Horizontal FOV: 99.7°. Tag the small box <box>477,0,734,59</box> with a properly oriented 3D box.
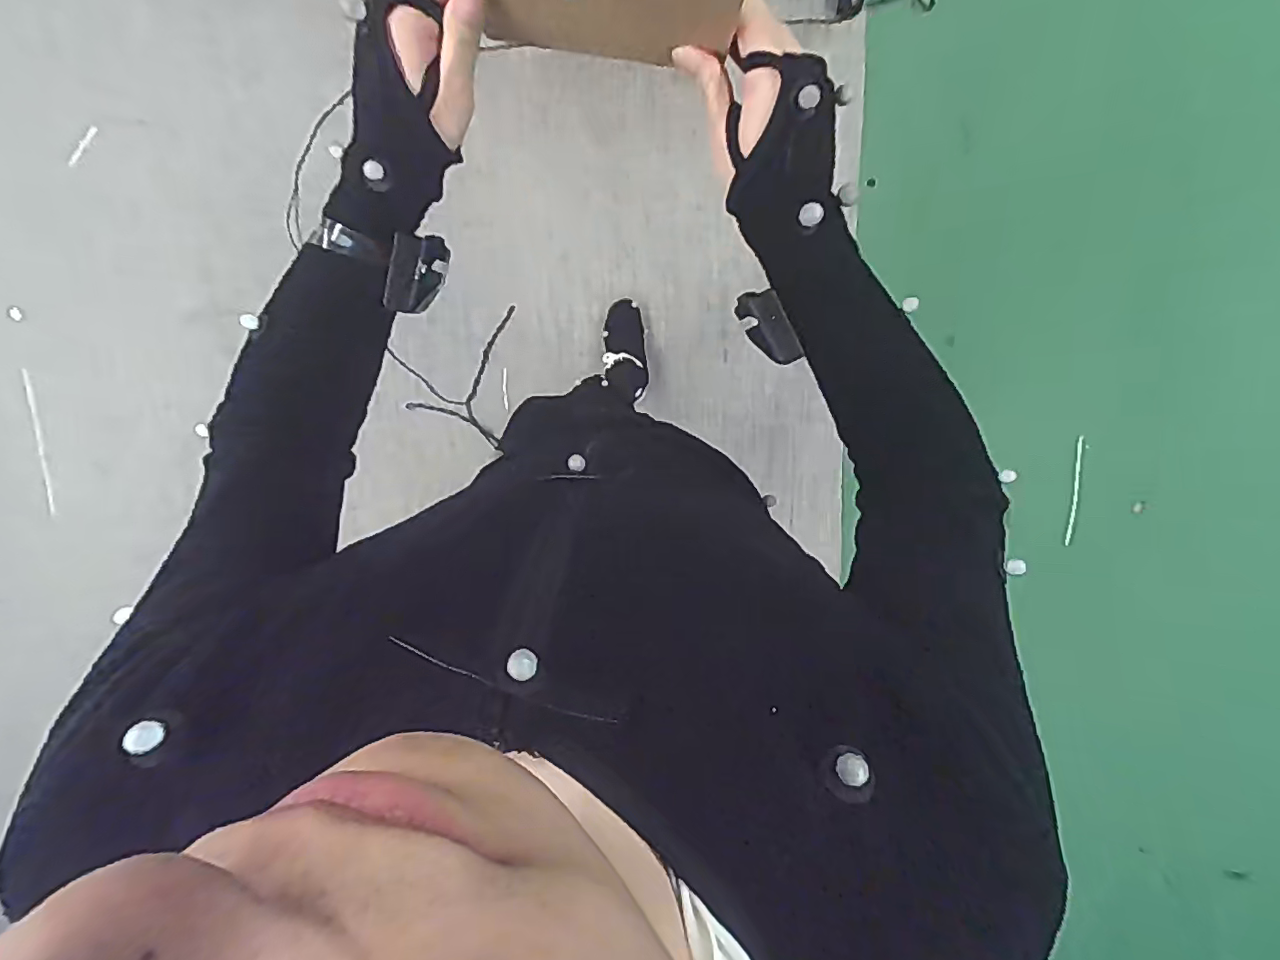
[{"bbox_3d":[-0.019,-0.357,0.282,0.179,0.176,0.168,9,110,-1],"label":"small box"}]
